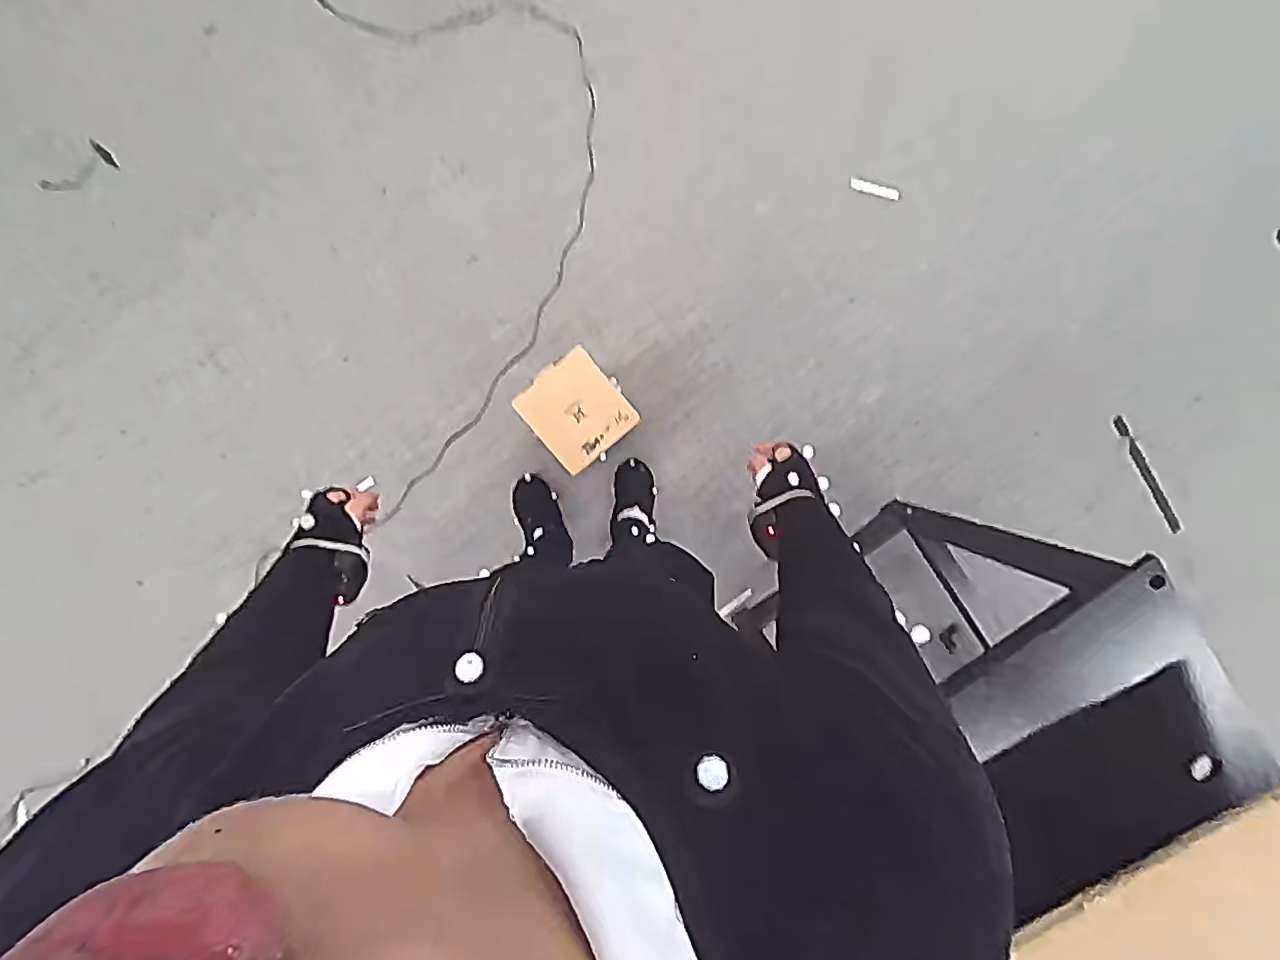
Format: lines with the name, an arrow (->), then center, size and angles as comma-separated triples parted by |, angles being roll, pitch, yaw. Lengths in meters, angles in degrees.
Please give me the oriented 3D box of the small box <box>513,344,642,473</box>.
small box -> -0.117, -0.133, 1.050 | 0.168, 0.176, 0.179 | -40, 97, 1
